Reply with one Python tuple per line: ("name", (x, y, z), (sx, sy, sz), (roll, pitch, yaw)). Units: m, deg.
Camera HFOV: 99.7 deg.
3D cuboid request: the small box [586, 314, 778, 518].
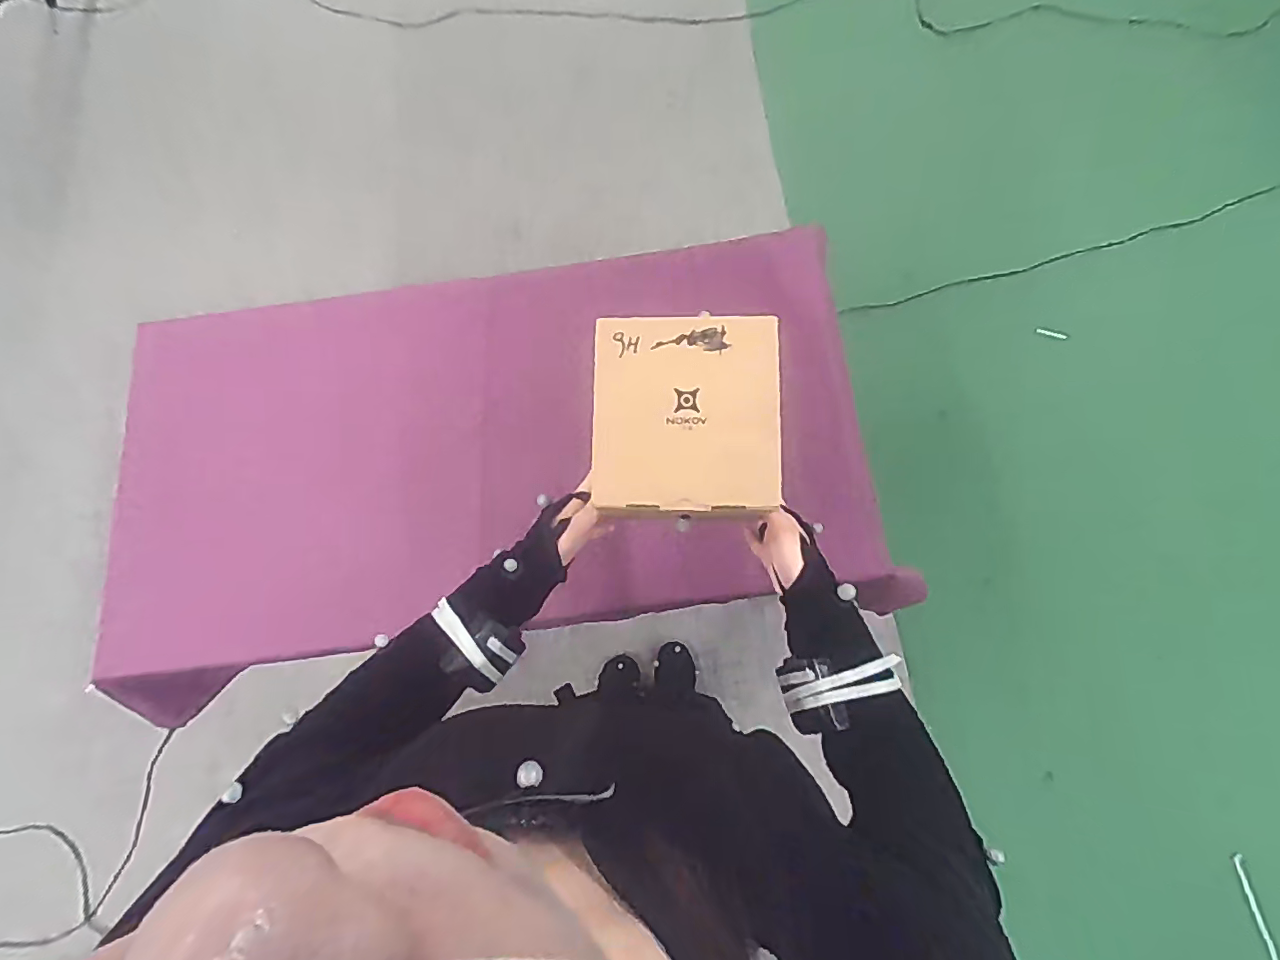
("small box", (0.043, -0.053, 0.552), (0.168, 0.176, 0.179), (1, 83, 4))
